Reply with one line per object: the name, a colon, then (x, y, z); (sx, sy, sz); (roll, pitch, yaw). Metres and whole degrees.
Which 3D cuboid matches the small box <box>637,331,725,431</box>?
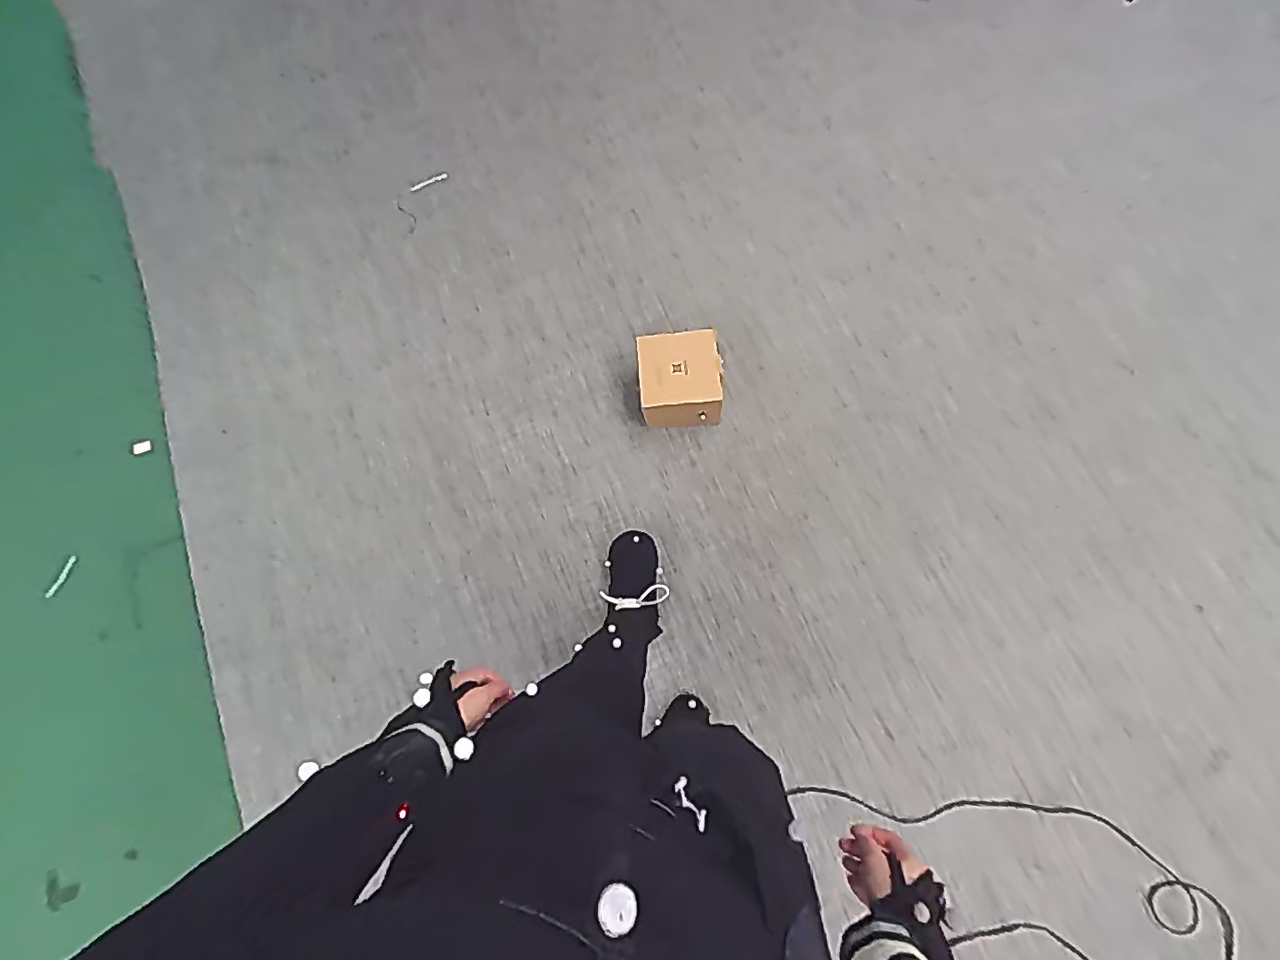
small box: (0.093, -0.219, 1.231); (0.179, 0.176, 0.168); (-6, 77, 5)
